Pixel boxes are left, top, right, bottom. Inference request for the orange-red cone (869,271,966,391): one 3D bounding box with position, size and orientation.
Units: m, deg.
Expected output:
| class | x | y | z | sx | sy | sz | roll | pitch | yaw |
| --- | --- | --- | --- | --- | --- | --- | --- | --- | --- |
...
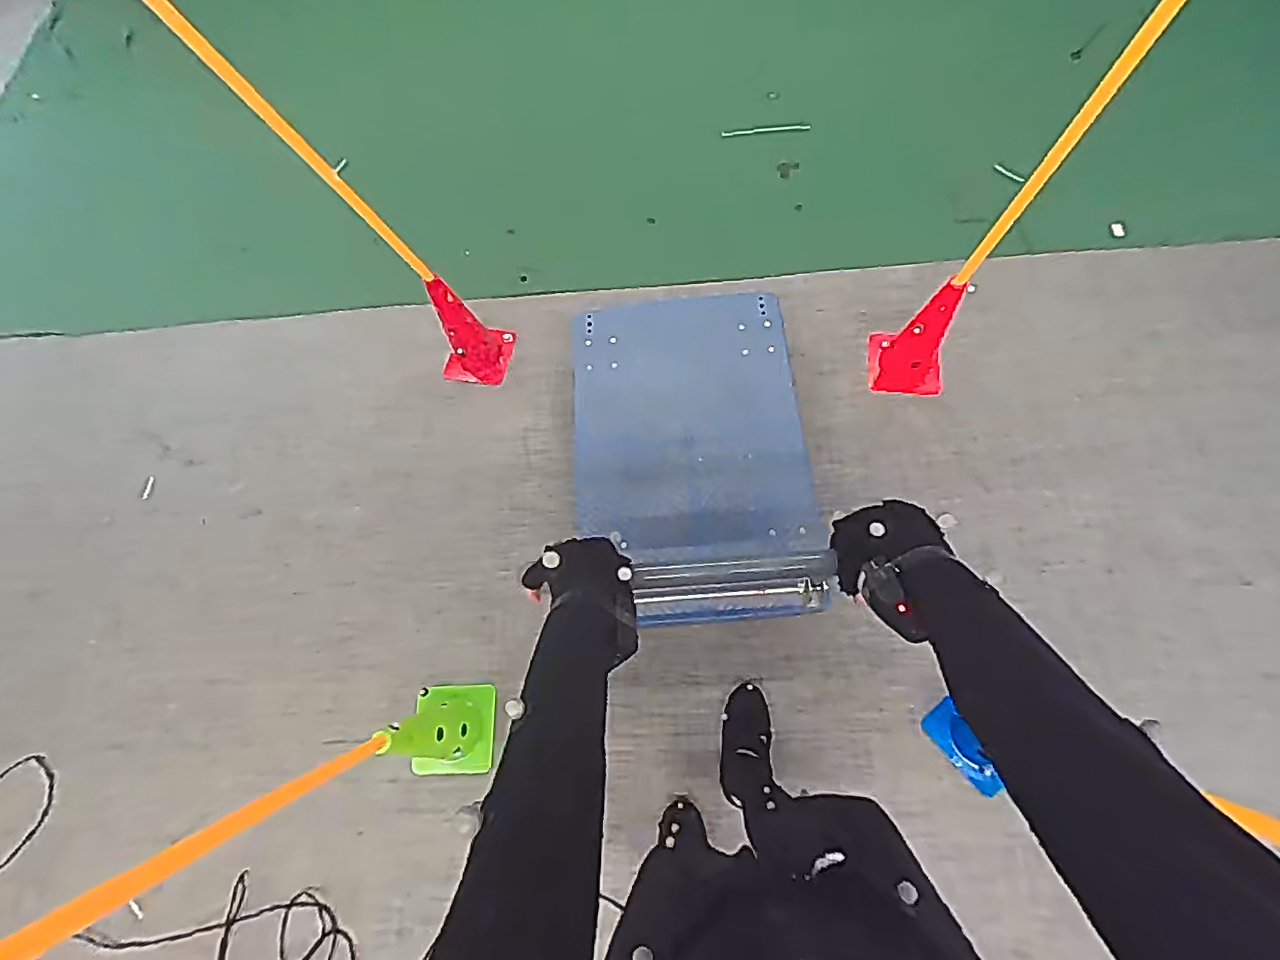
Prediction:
| class | x | y | z | sx | sy | sz | roll | pitch | yaw |
| --- | --- | --- | --- | --- | --- | --- | --- | --- | --- |
| orange-red cone | 0.754 | -0.407 | 1.409 | 0.198 | 0.360 | 0.199 | 7 | 72 | 9 |
